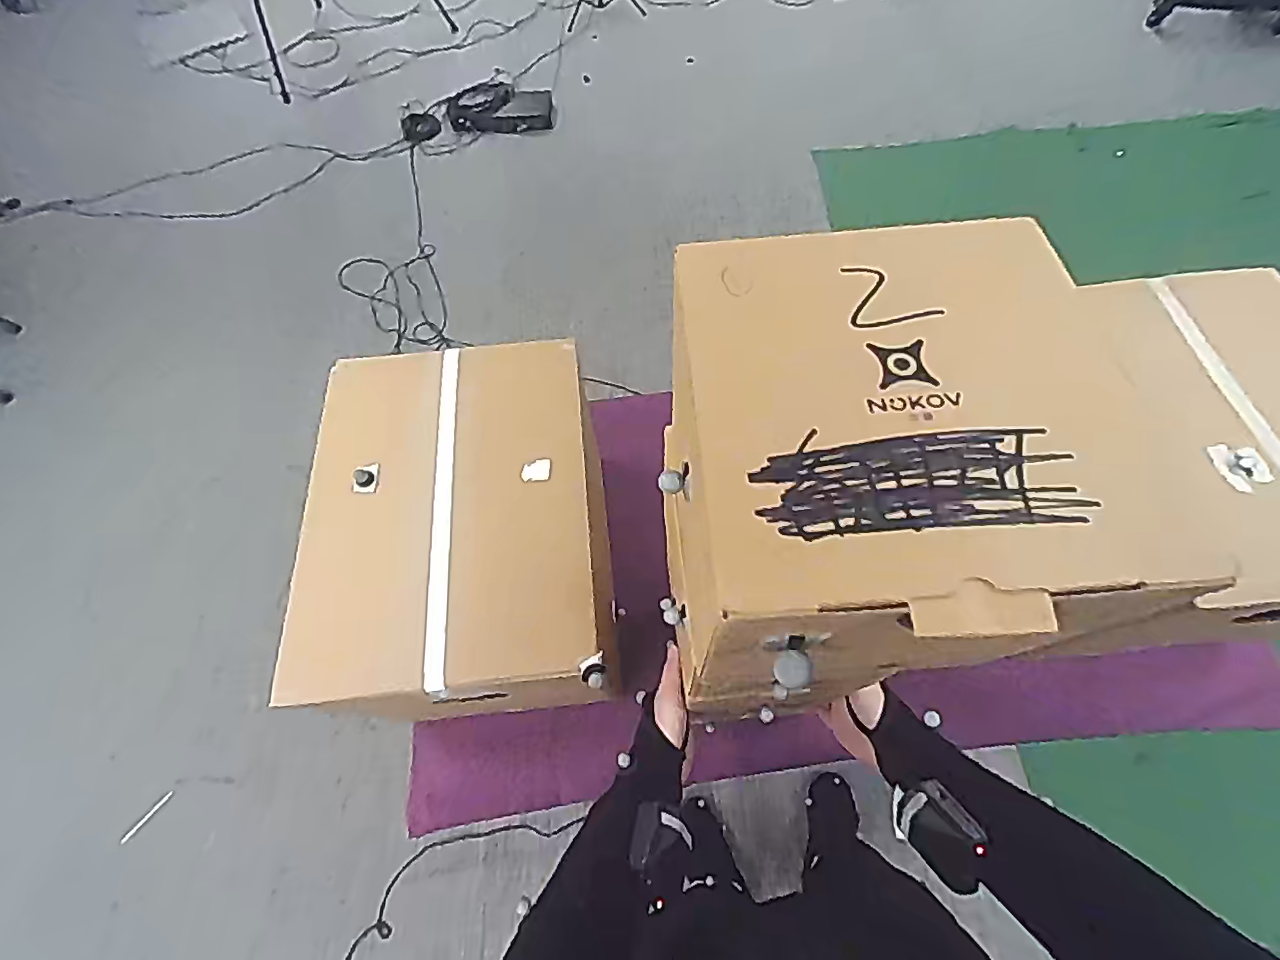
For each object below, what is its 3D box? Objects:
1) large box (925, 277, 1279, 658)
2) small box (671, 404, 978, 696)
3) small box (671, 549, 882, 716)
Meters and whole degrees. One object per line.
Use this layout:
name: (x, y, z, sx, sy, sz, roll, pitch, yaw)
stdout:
large box: (0.658, -0.001, 0.727, 0.320, 0.320, 0.408, -6, 64, 1)
small box: (0.115, 0.063, 0.429, 0.168, 0.176, 0.179, -6, 63, -1)
small box: (0.122, 0.141, 0.570, 0.168, 0.176, 0.179, -6, 62, 0)
